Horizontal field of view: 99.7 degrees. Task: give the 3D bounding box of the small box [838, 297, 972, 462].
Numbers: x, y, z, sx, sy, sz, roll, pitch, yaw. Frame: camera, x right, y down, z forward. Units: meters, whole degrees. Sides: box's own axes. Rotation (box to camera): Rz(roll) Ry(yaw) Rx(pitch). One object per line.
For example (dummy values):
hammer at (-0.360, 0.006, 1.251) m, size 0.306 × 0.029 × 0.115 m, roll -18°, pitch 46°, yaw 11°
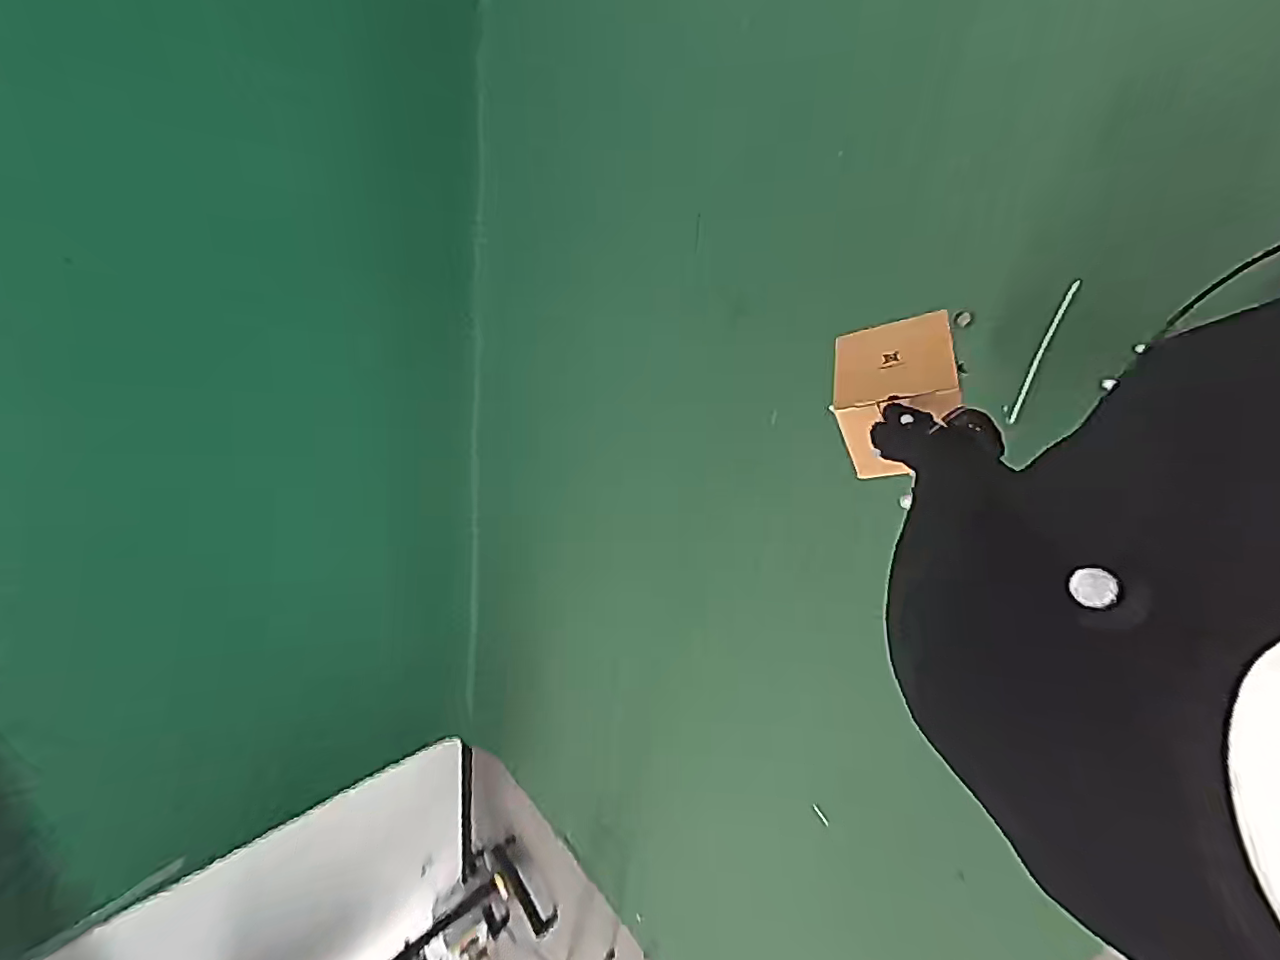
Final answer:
small box at (0.424, -0.154, 0.868) m, size 0.168 × 0.179 × 0.176 m, roll -9°, pitch 138°, yaw 31°
